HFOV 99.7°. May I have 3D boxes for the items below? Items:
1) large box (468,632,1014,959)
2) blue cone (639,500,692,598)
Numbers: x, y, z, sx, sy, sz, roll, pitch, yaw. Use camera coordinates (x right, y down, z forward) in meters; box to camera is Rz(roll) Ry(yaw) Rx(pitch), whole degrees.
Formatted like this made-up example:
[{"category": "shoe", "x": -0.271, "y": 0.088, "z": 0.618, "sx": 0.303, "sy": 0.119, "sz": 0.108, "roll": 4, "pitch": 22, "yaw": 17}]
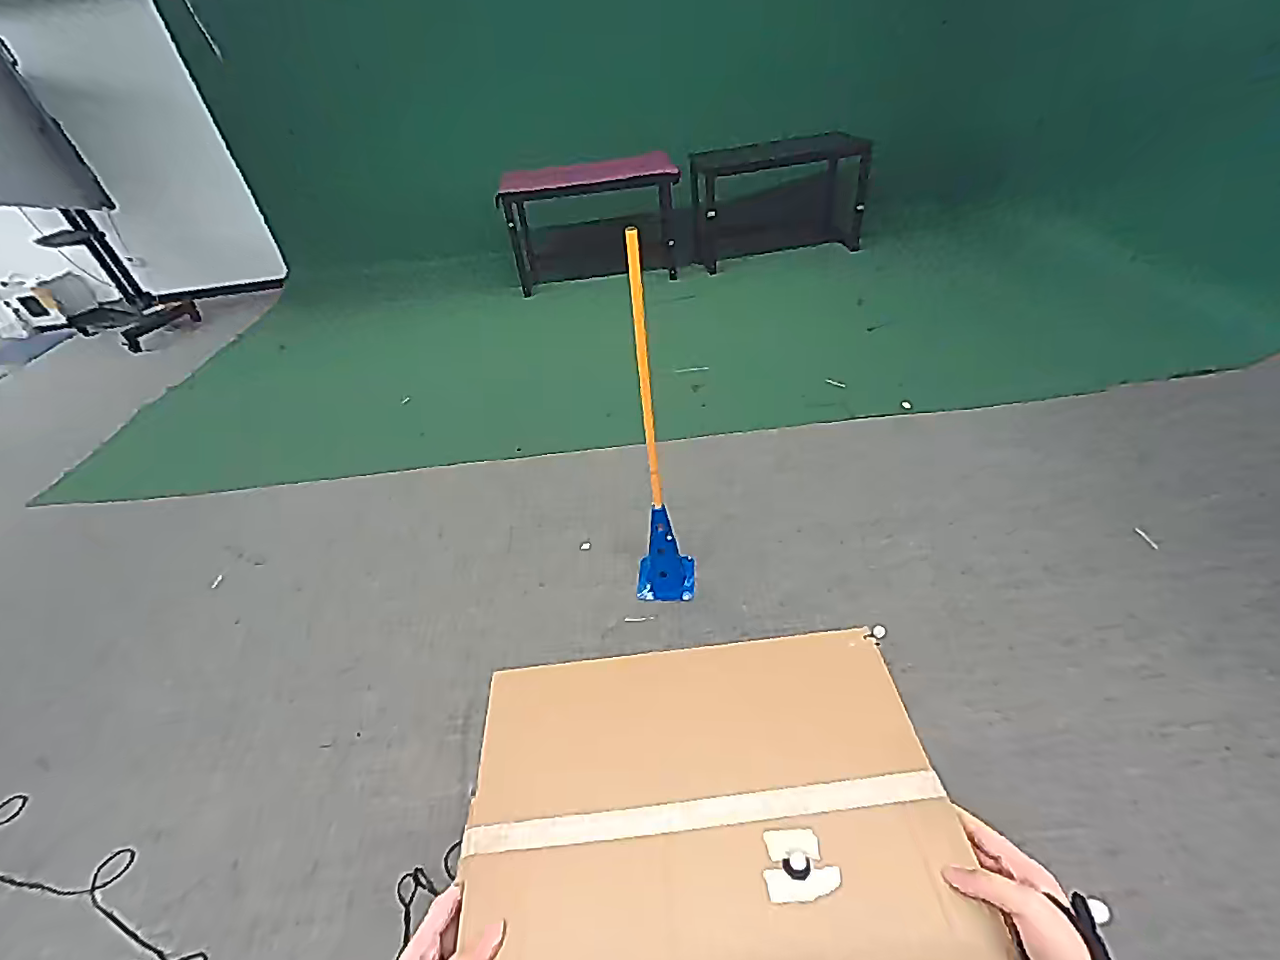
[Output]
[{"category": "large box", "x": 0.069, "y": 0.398, "z": 0.568, "sx": 0.408, "sy": 0.320, "sz": 0.320, "roll": -6, "pitch": 42, "yaw": -1}, {"category": "blue cone", "x": 0.076, "y": 0.226, "z": 1.854, "sx": 0.193, "sy": 0.380, "sz": 0.192, "roll": 0, "pitch": 39, "yaw": 9}]
